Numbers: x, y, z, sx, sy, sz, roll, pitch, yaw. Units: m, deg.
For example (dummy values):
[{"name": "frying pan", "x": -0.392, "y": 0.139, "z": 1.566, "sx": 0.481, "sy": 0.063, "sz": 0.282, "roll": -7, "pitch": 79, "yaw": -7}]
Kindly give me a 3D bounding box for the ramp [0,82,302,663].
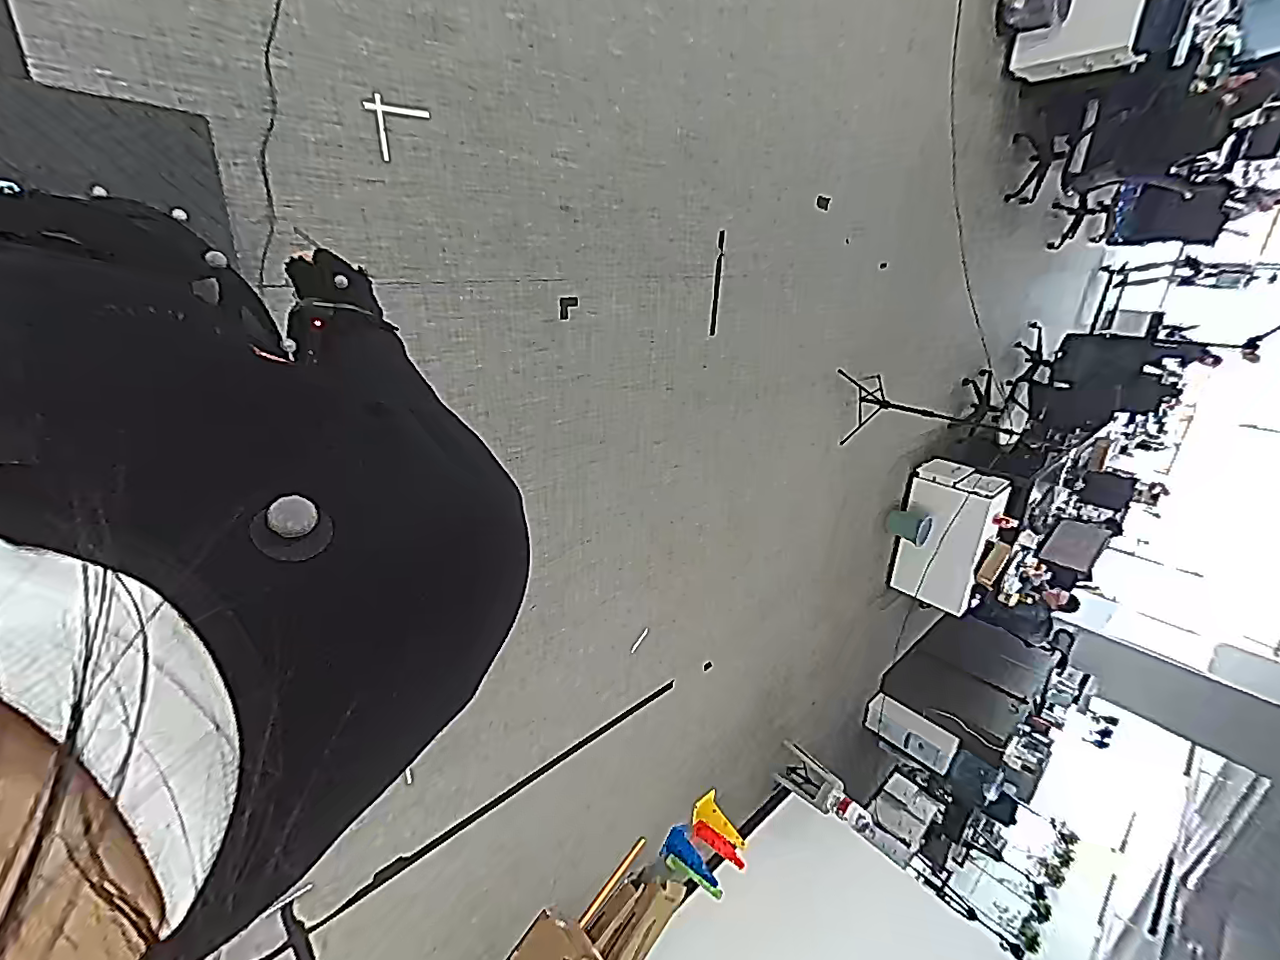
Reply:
[{"name": "ramp", "x": -1.028, "y": -0.191, "z": 1.035, "sx": 0.509, "sy": 0.206, "sz": 0.991, "roll": -16, "pitch": 118, "yaw": -38}]
